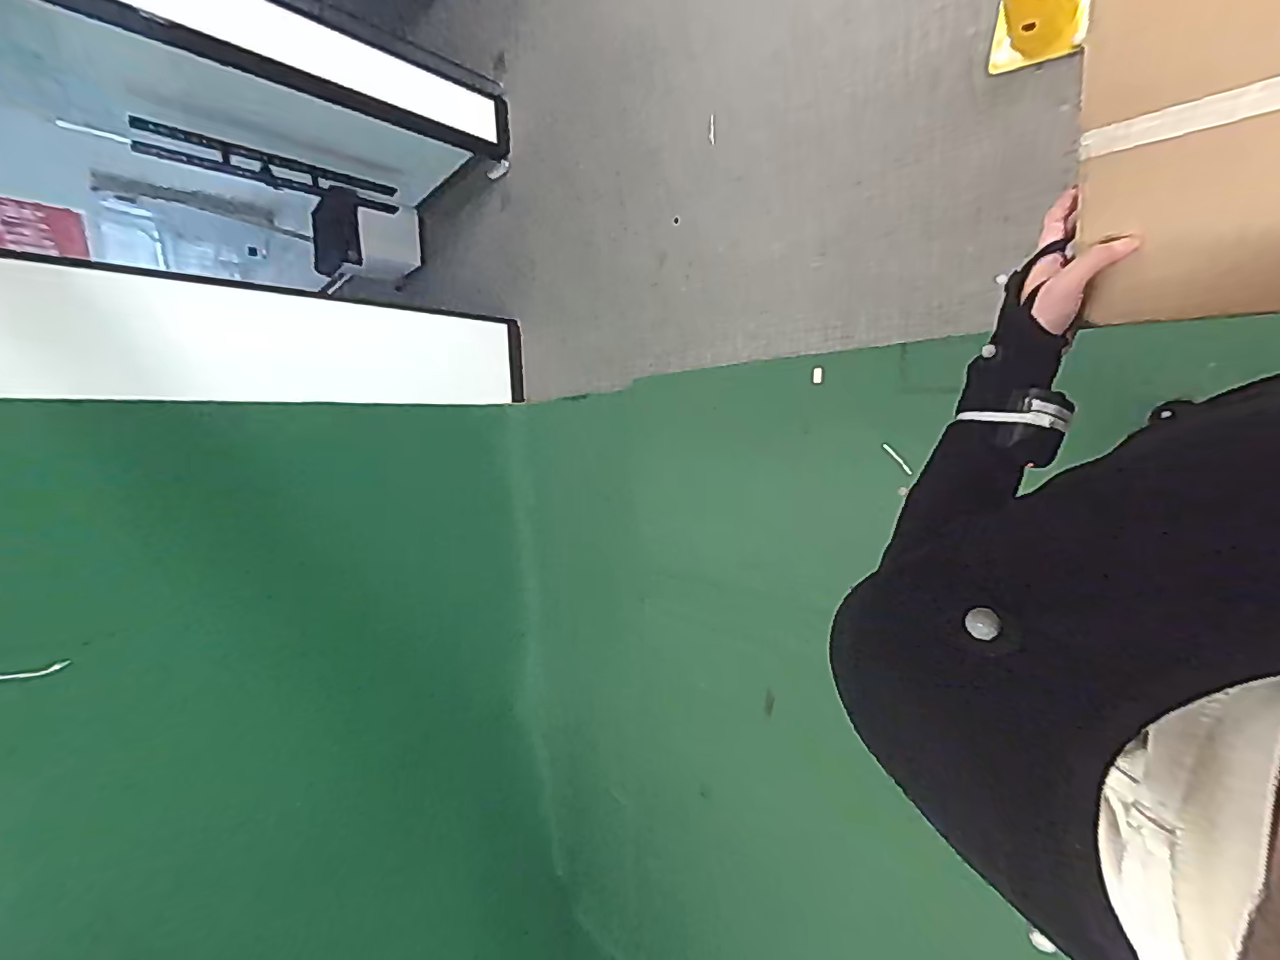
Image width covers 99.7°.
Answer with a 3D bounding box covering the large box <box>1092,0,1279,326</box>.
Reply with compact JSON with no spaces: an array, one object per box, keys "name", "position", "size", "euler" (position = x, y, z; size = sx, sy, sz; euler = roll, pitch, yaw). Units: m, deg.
[{"name":"large box","position":[0.637,-0.321,0.413],"size":[0.408,0.320,0.320],"euler":[9,117,49]}]
